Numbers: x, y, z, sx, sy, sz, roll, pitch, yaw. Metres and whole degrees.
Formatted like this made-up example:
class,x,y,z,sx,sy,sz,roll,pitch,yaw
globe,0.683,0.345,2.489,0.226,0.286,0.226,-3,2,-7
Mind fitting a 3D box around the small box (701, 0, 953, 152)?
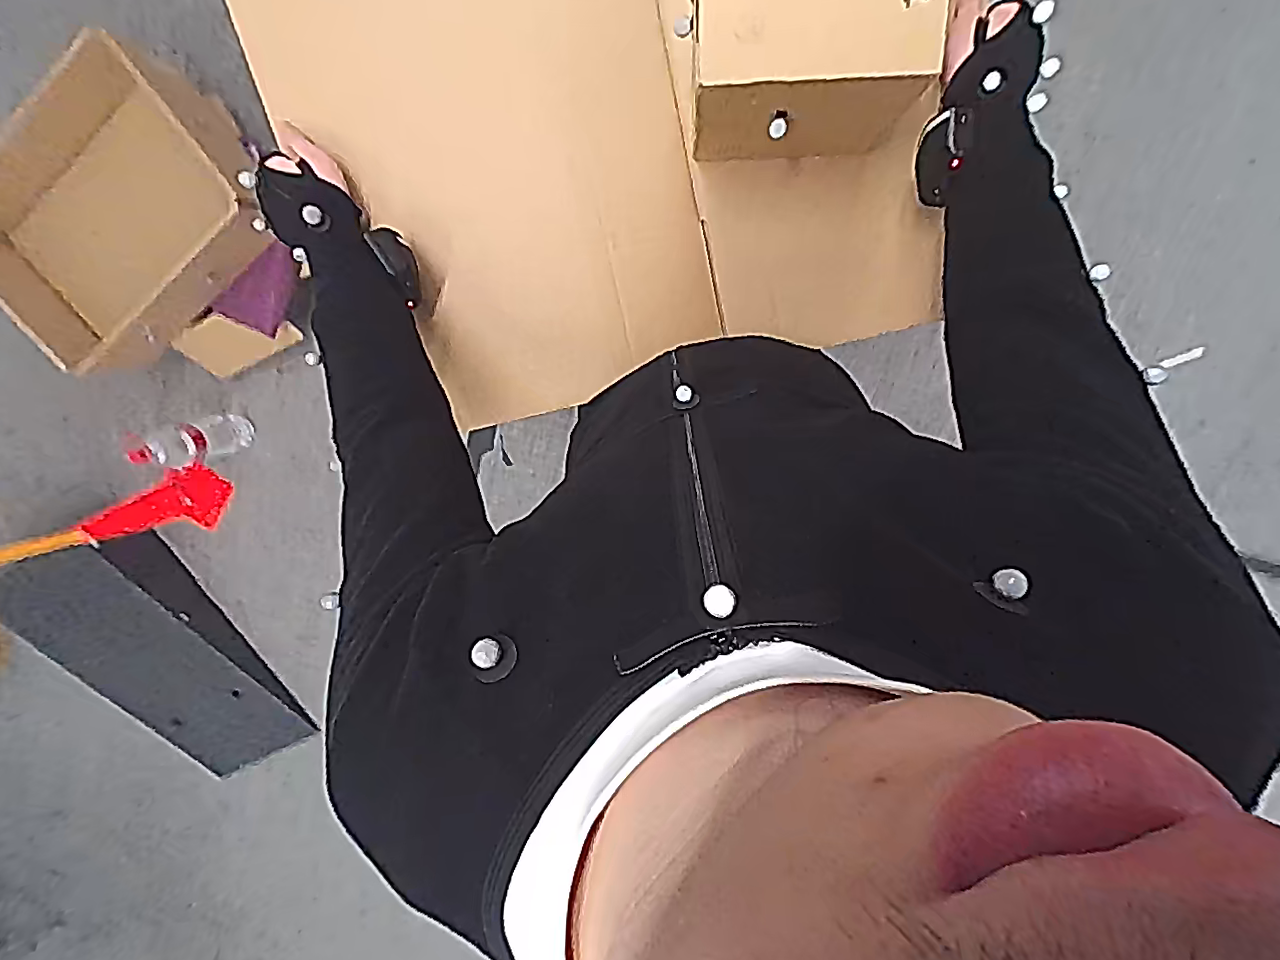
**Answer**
class,x,y,z,sx,sy,sz,roll,pitch,yaw
small box,0.142,-0.394,0.455,0.179,0.176,0.168,1,104,5
